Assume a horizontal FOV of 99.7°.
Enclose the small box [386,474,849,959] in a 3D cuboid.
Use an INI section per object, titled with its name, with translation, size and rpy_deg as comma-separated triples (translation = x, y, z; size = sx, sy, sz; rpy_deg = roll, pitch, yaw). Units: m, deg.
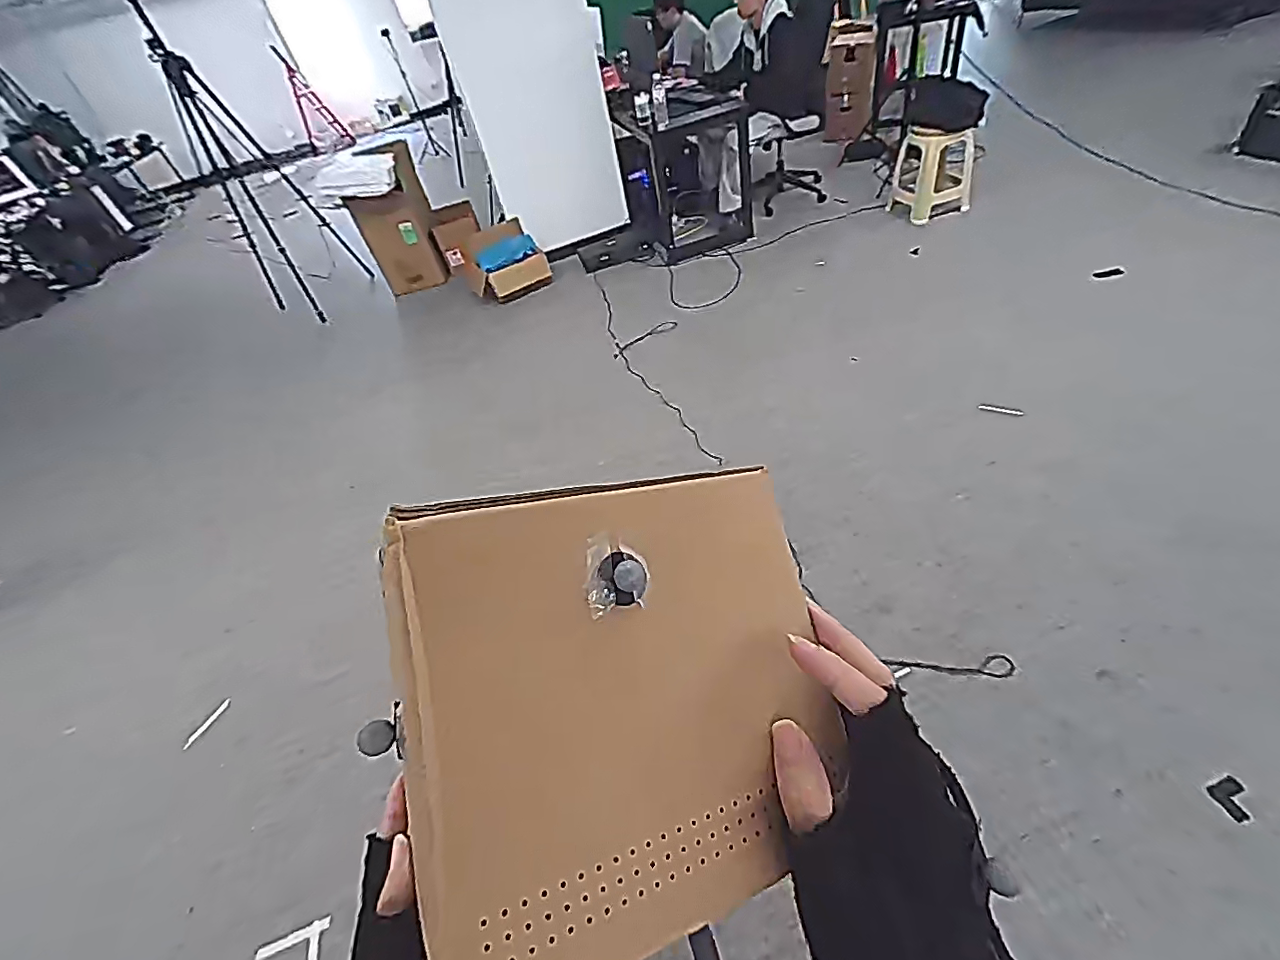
[small box]
translation = -0.026, 0.110, 0.282
size = 0.179, 0.168, 0.176
rpy_deg = -6, 75, -27
